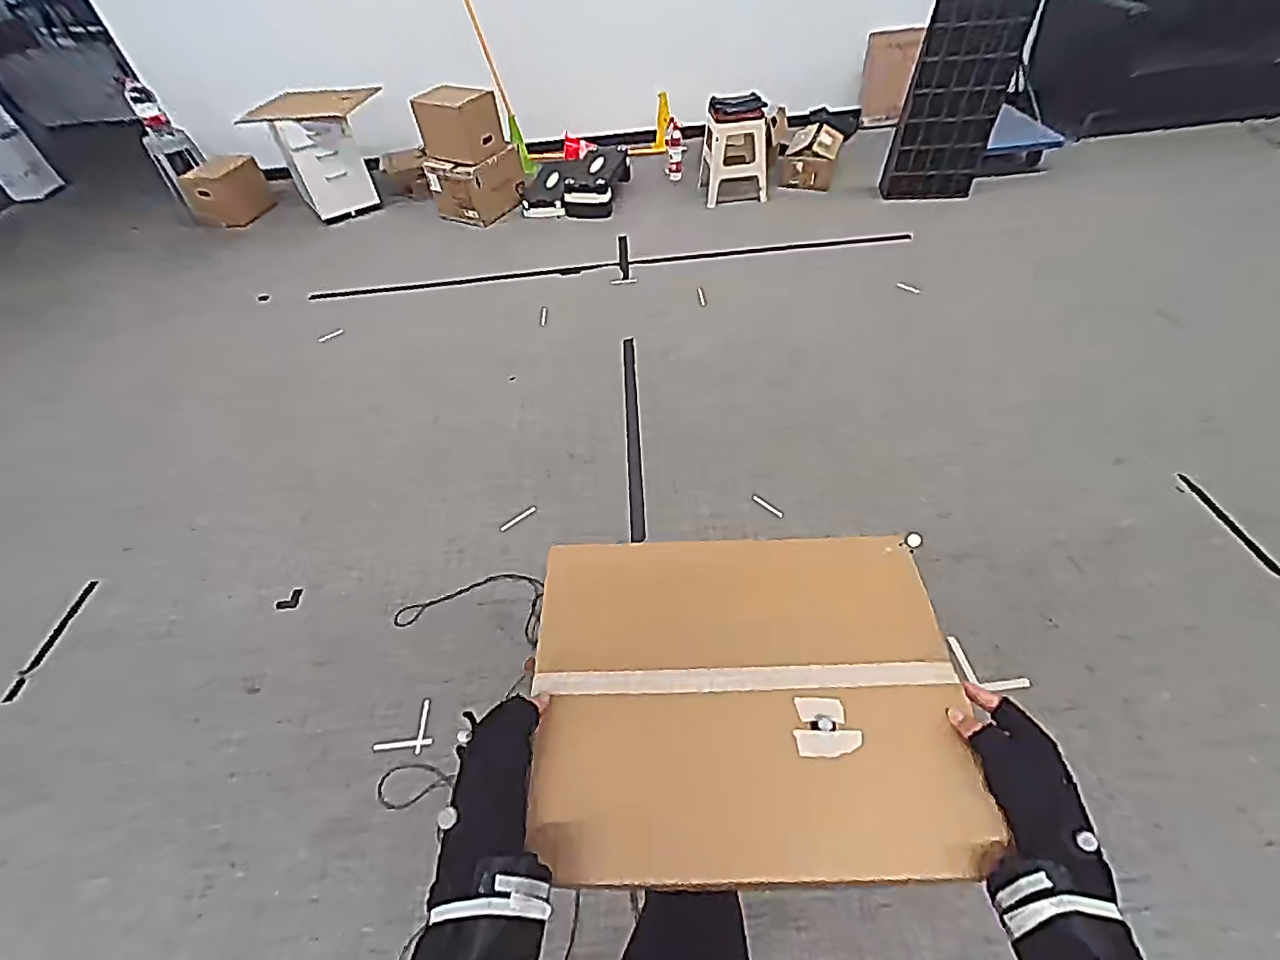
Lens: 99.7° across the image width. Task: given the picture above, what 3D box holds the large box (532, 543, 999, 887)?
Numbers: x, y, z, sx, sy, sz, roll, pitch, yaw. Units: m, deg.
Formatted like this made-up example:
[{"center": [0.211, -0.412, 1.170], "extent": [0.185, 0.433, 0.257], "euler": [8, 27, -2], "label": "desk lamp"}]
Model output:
[{"center": [0.104, 0.294, 0.660], "extent": [0.408, 0.320, 0.320], "euler": [-2, 53, 1], "label": "large box"}]
